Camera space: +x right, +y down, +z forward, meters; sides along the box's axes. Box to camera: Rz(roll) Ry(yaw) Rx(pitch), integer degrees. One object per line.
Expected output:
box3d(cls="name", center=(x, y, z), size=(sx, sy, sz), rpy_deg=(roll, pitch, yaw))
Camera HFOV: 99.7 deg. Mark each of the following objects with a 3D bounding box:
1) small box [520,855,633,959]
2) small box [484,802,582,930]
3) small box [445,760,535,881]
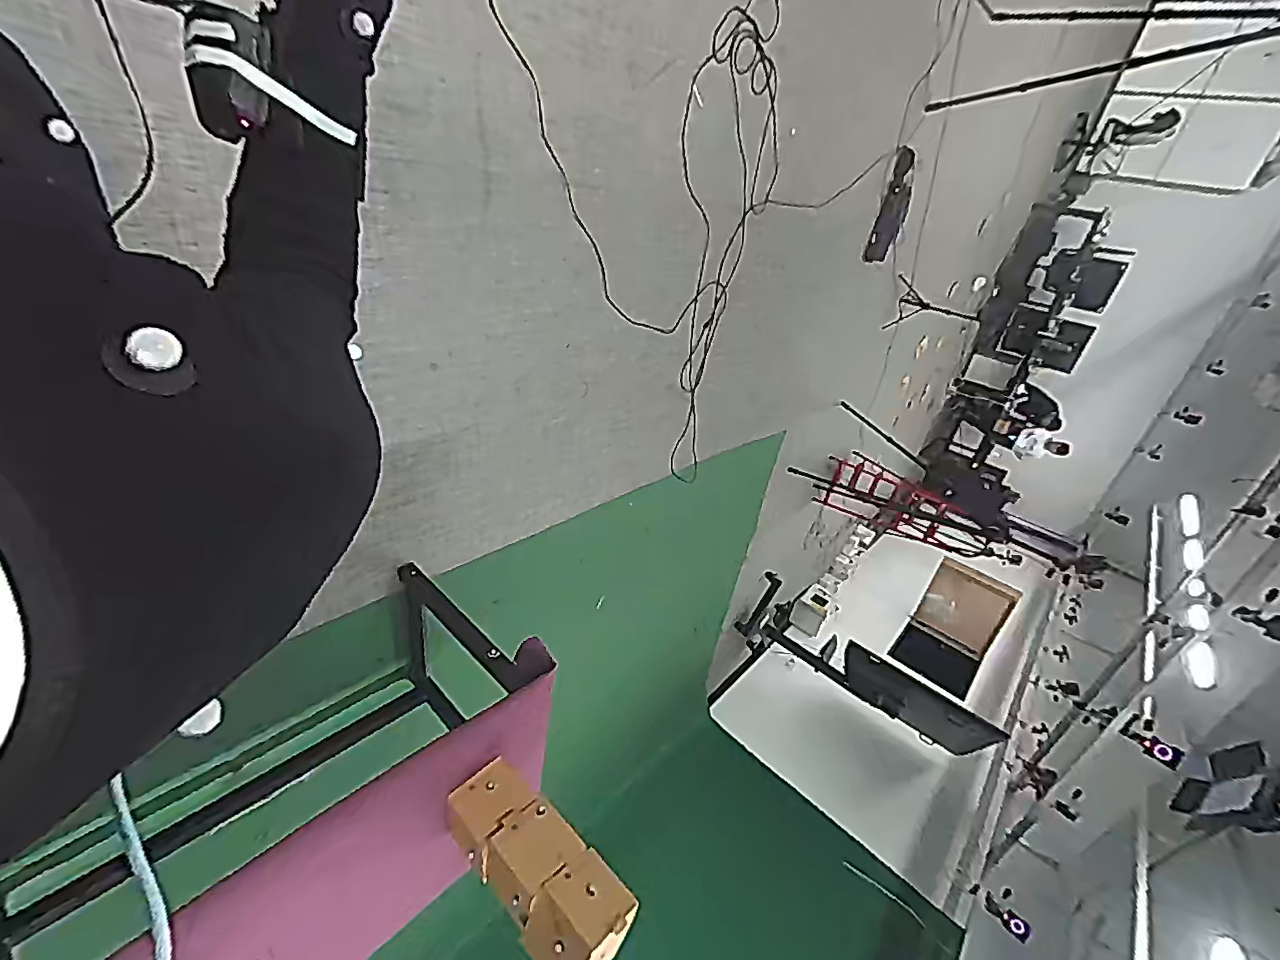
box3d(cls="small box", center=(-0.149, 1.014, 1.246), size=(0.168, 0.176, 0.179), rpy_deg=(4, 111, -54))
box3d(cls="small box", center=(-0.268, 0.941, 1.333), size=(0.168, 0.176, 0.179), rpy_deg=(-19, 130, -45))
box3d(cls="small box", center=(-0.396, 0.886, 1.422), size=(0.168, 0.176, 0.179), rpy_deg=(-24, 133, -42))
